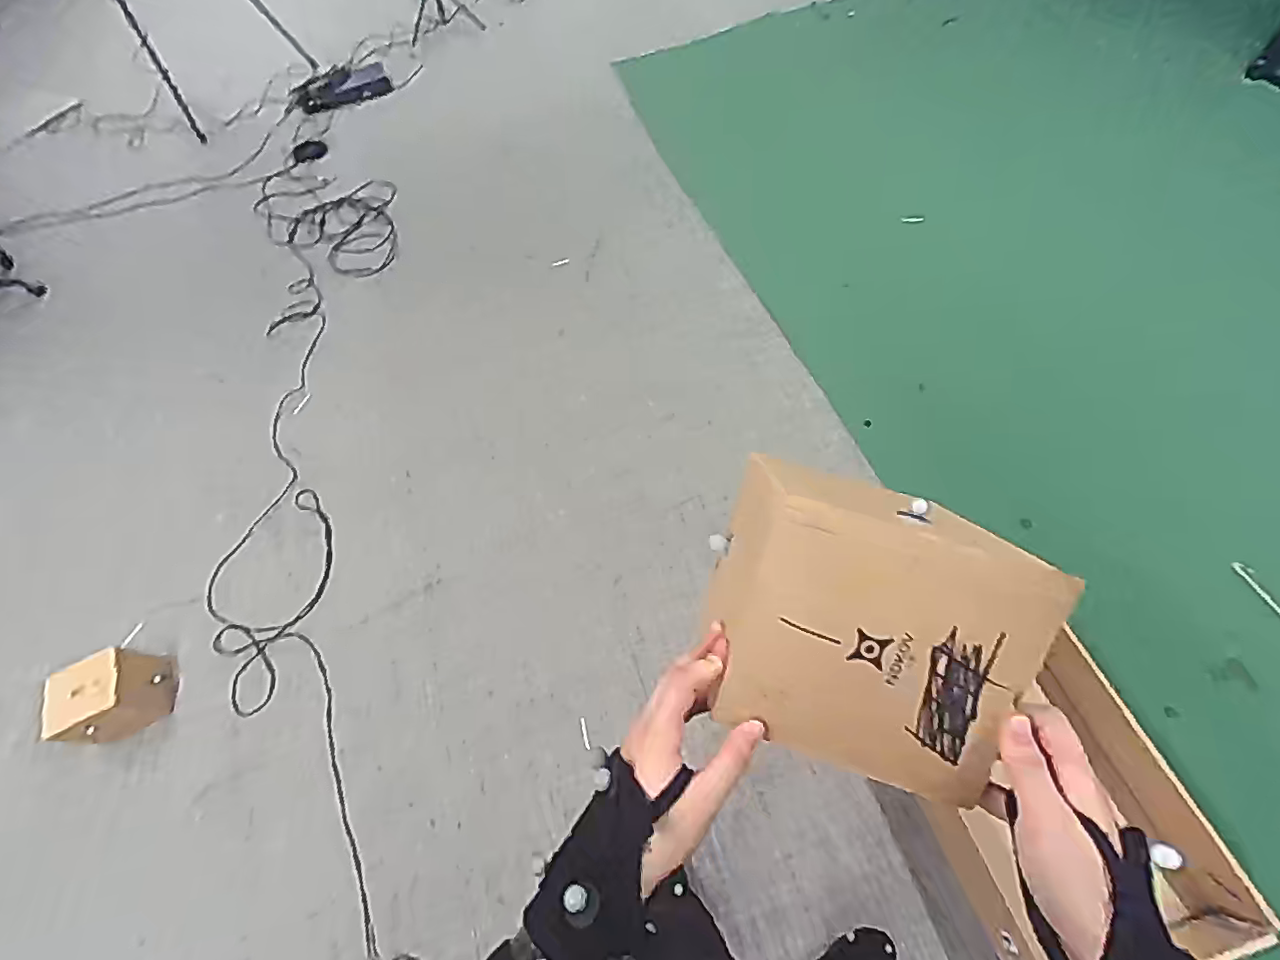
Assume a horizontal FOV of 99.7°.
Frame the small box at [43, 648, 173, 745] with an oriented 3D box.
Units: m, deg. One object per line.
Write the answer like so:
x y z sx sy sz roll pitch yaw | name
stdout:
-1.372 0.568 1.404 0.179 0.176 0.168 -27 61 -9 | small box

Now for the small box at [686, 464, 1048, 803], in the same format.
0.140 0.095 0.410 0.179 0.176 0.168 15 102 1 | small box
